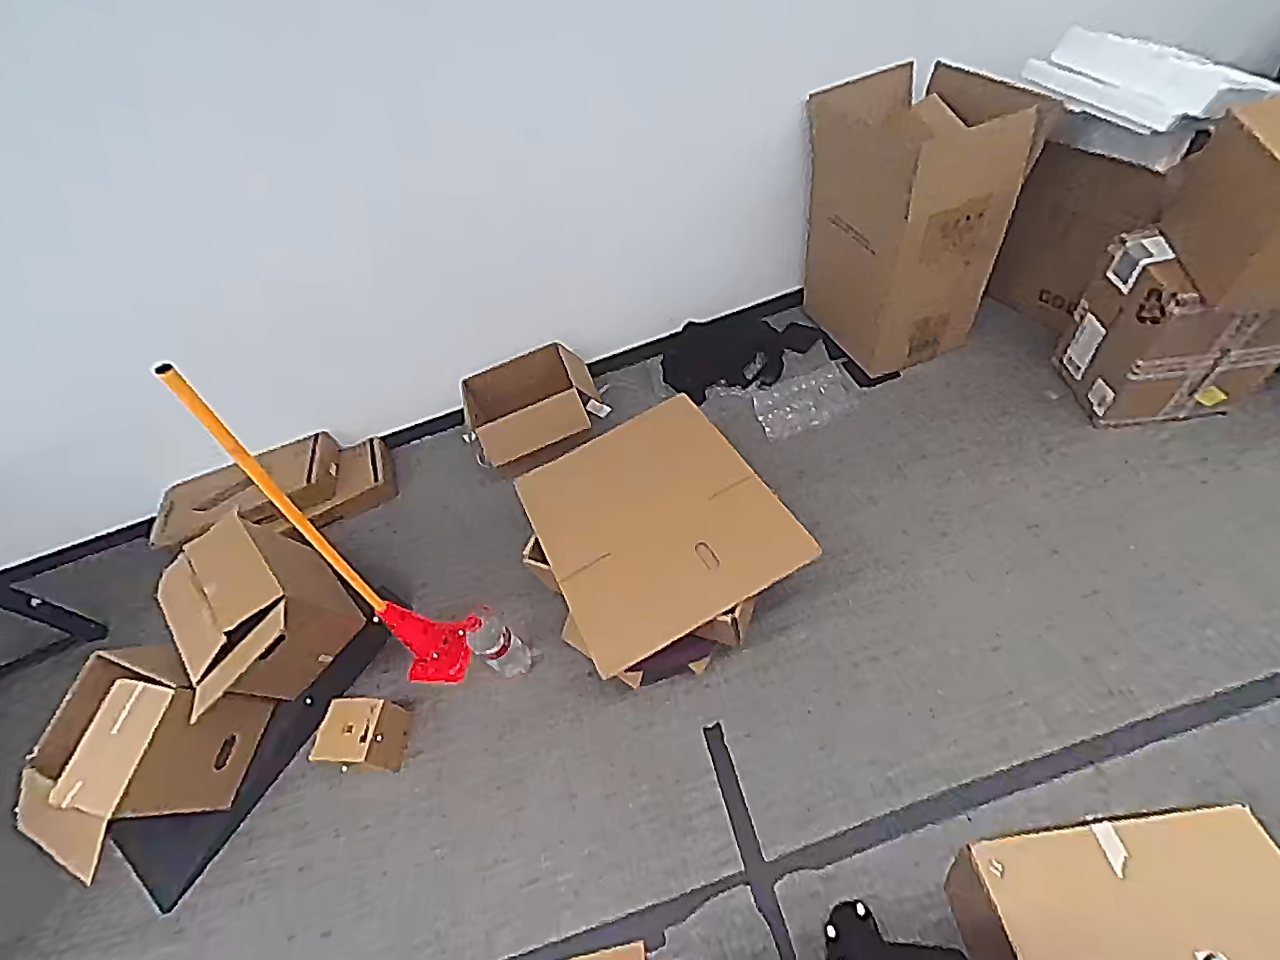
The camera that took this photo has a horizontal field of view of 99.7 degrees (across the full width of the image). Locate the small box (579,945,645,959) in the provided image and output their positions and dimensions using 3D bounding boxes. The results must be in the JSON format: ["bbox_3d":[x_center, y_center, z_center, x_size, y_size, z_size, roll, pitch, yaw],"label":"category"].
[{"bbox_3d":[-0.054,0.755,0.678,0.168,0.179,0.176,-12,95,-2],"label":"small box"}]
